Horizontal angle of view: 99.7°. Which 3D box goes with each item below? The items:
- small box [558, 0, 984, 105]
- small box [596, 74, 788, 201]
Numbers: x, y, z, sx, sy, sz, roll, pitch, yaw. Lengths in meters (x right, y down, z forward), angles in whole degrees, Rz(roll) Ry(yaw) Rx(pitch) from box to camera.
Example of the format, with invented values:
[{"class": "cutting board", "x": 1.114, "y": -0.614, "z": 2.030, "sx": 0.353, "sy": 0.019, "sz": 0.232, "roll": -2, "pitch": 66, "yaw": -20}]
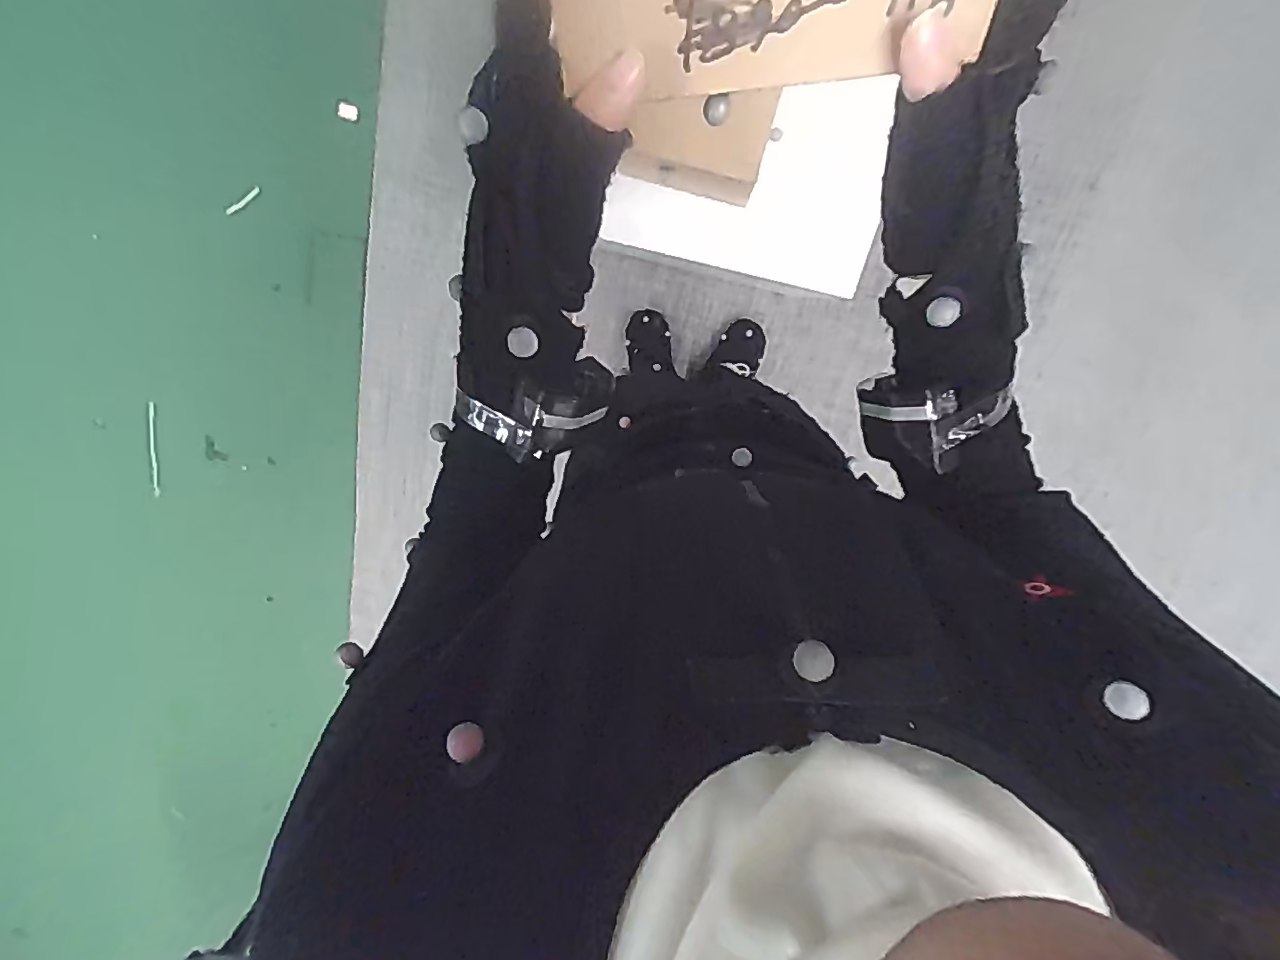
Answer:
[{"class": "small box", "x": 0.038, "y": -0.282, "z": 0.221, "sx": 0.168, "sy": 0.176, "sz": 0.179, "roll": -8, "pitch": 134, "yaw": 3}, {"class": "small box", "x": 0.067, "y": -0.435, "z": 0.614, "sx": 0.179, "sy": 0.176, "sz": 0.168, "roll": 17, "pitch": 110, "yaw": 2}]
